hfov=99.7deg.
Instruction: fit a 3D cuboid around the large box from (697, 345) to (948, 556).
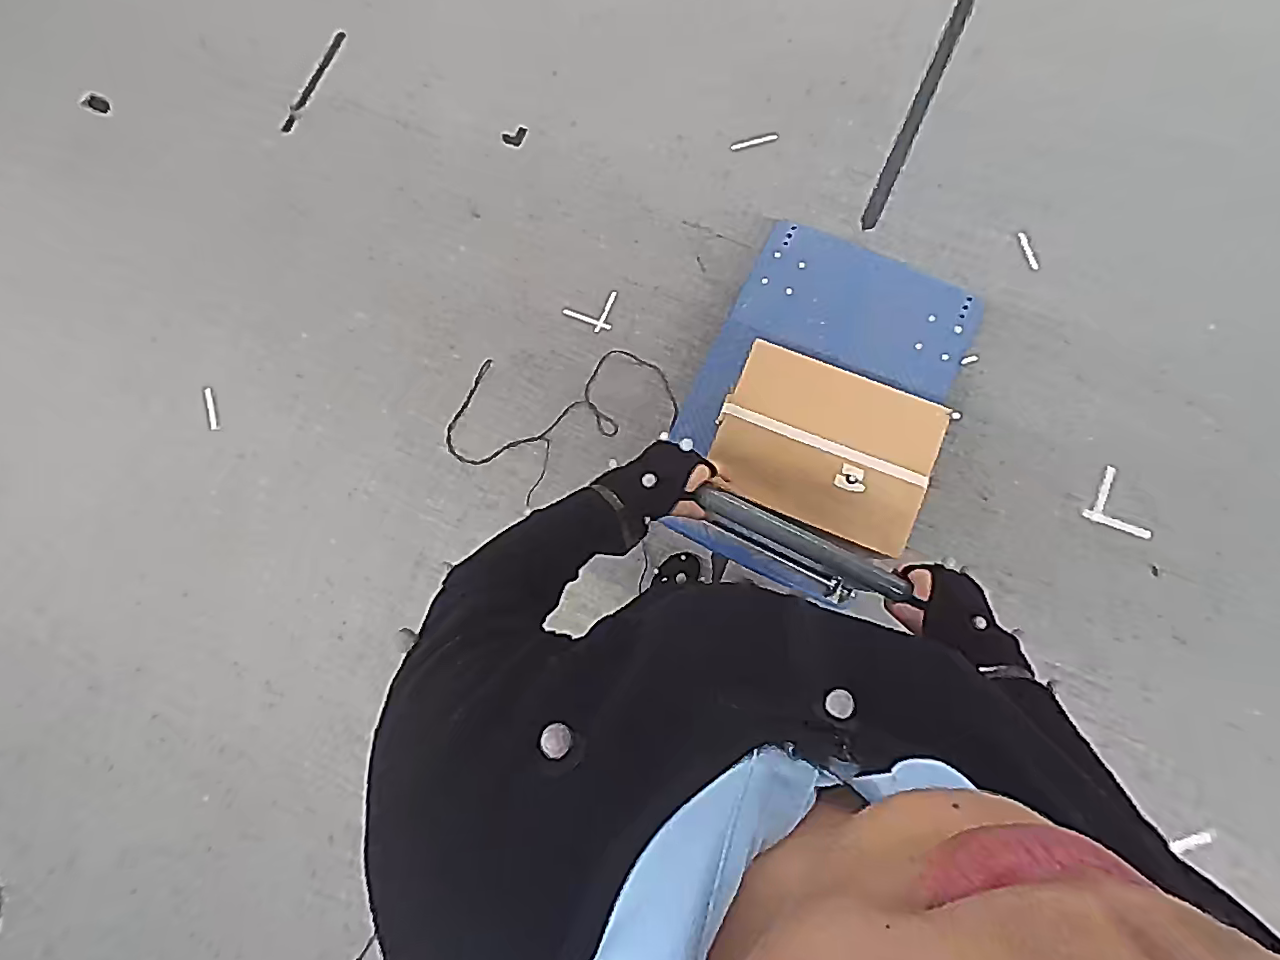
[{"bbox_3d":[0.370,-0.045,1.203,0.408,0.320,0.320,22,85,6],"label":"large box"}]
